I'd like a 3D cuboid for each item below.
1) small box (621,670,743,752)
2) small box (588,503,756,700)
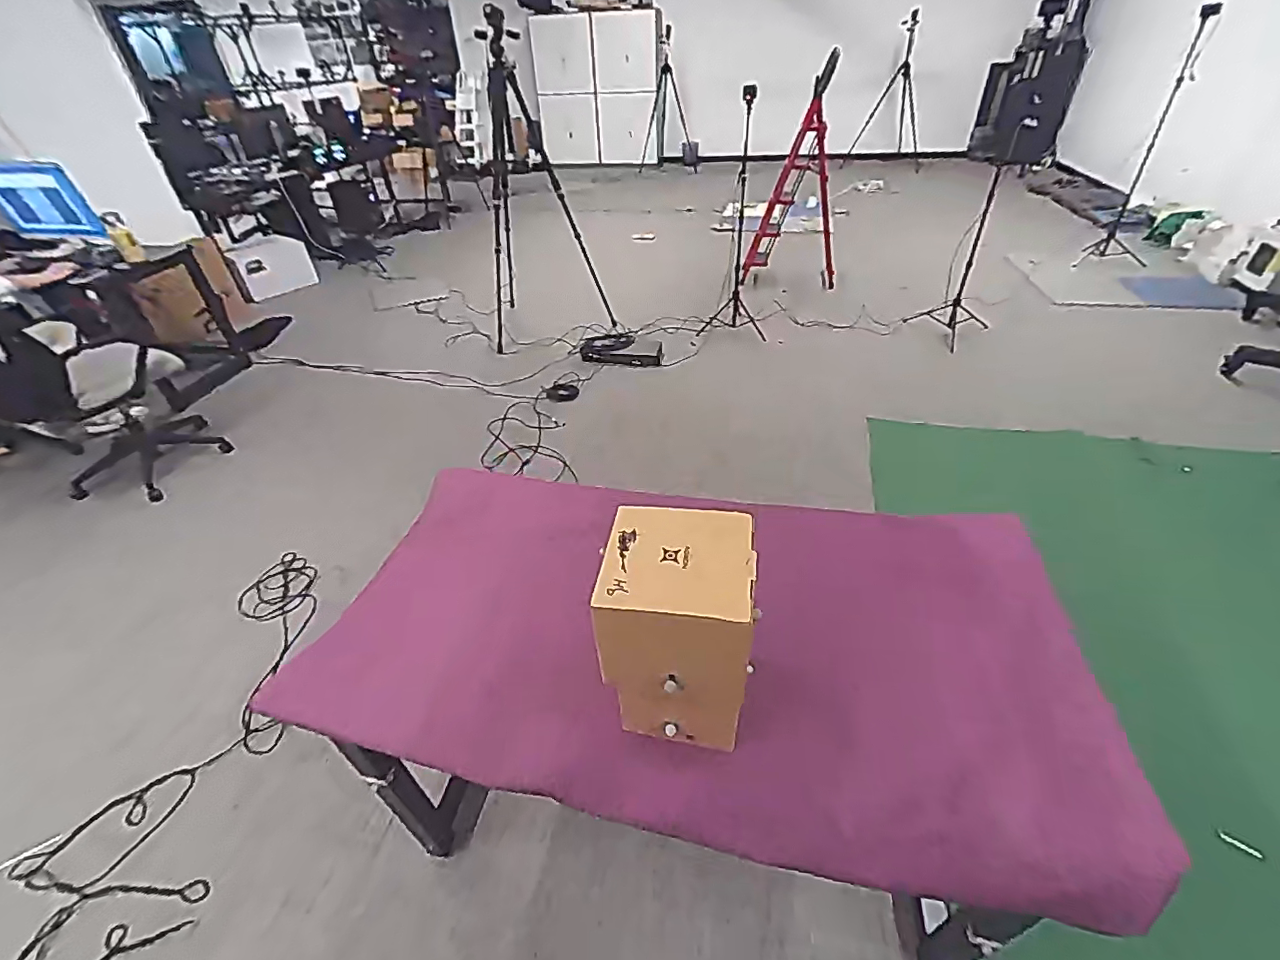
[{"bbox_3d":[0.068,0.263,0.794,0.168,0.176,0.179,6,40,12],"label":"small box"},{"bbox_3d":[0.046,0.151,0.673,0.179,0.176,0.168,4,40,10],"label":"small box"}]
